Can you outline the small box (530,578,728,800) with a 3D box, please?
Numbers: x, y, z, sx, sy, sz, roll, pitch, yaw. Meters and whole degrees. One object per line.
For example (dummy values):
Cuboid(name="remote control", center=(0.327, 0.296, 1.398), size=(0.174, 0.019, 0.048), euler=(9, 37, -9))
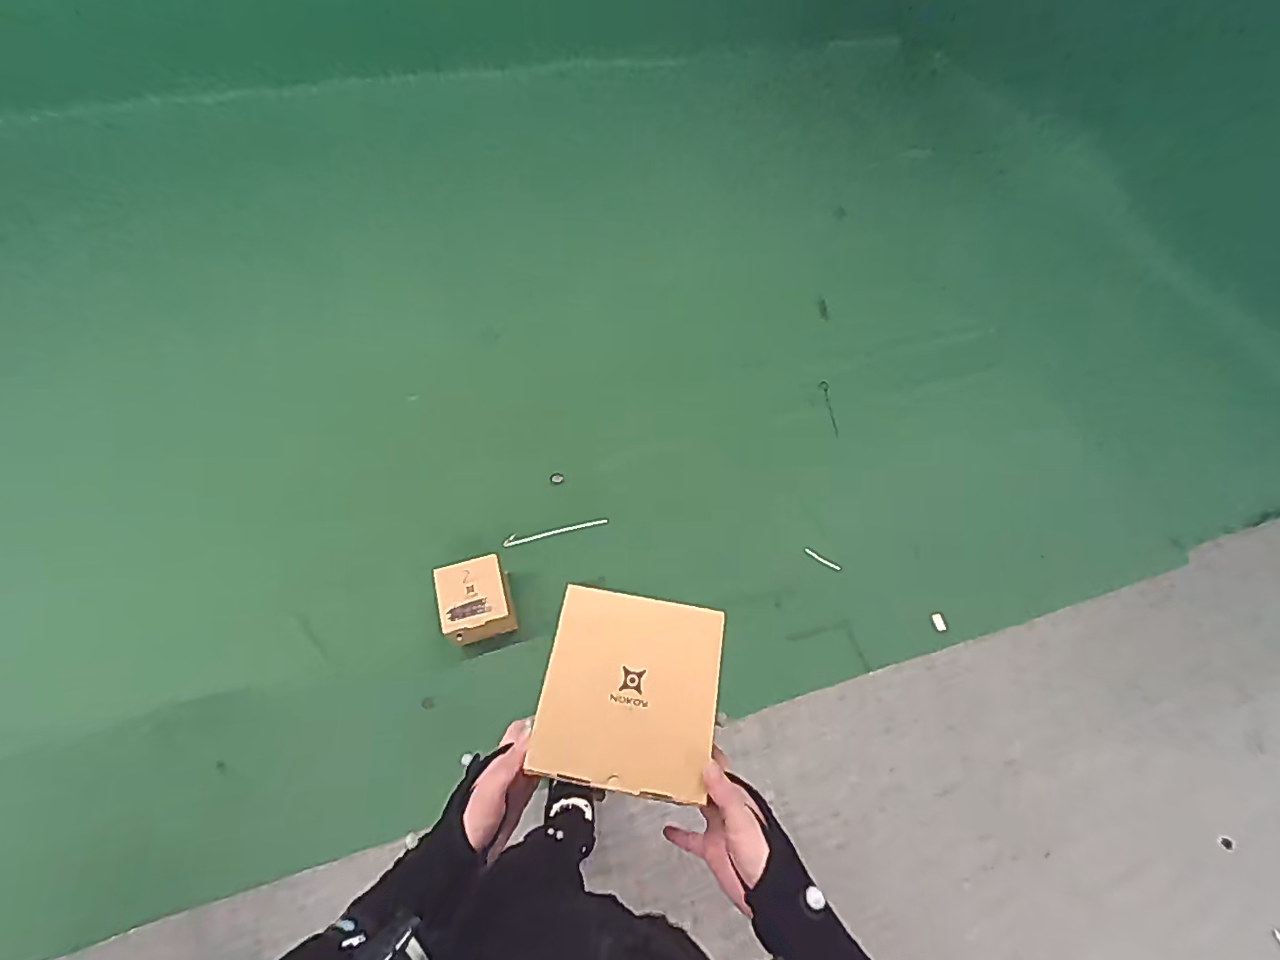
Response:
Cuboid(name="small box", center=(-0.008, 0.226, 0.579), size=(0.168, 0.176, 0.179), euler=(9, 62, 2))
